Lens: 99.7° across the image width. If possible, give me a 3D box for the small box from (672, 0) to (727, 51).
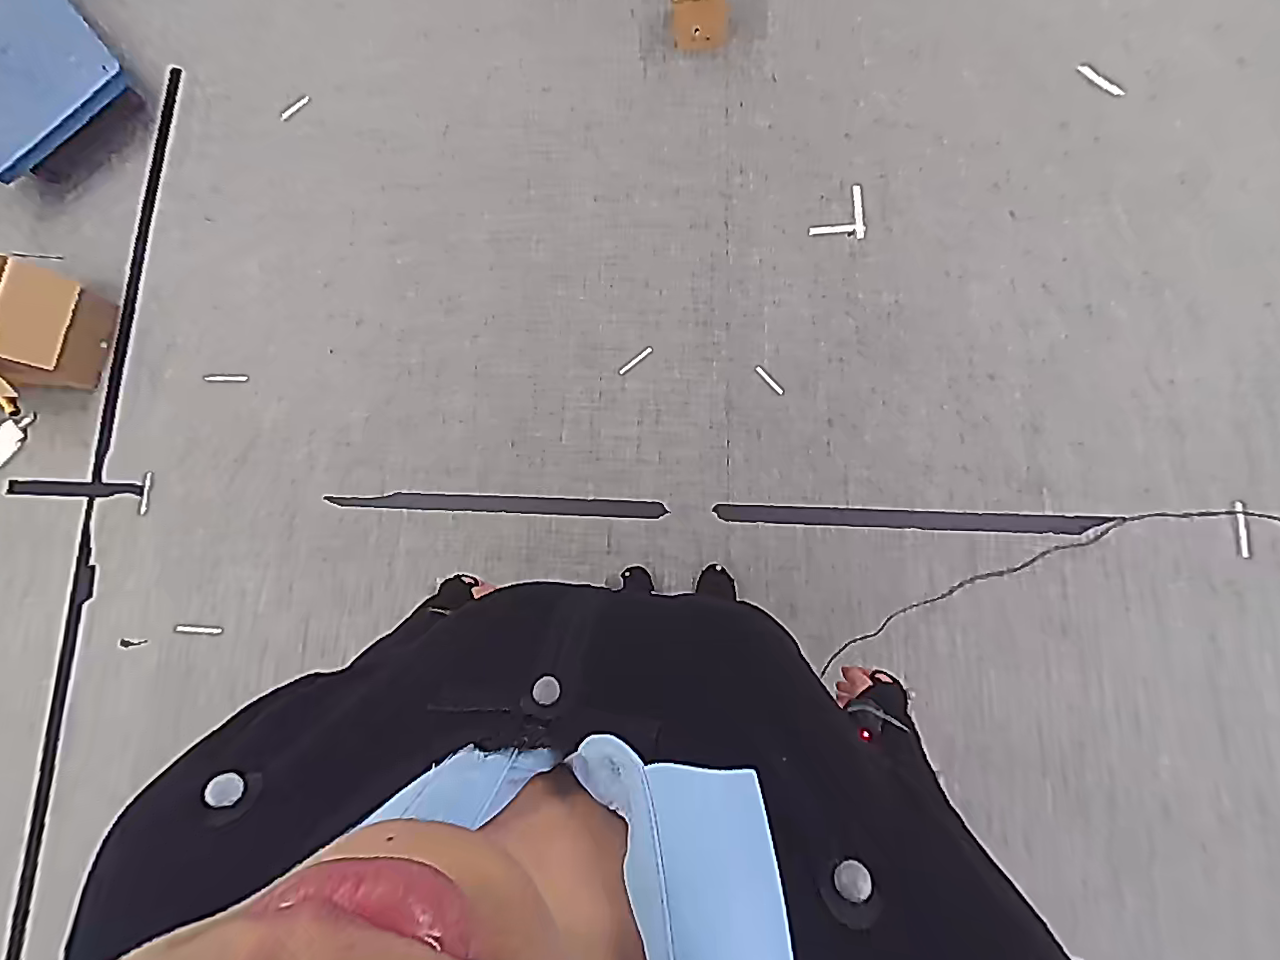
[{"bbox_3d":[0.183,-1.508,1.701,0.168,0.176,0.179,-5,80,6],"label":"small box"}]
